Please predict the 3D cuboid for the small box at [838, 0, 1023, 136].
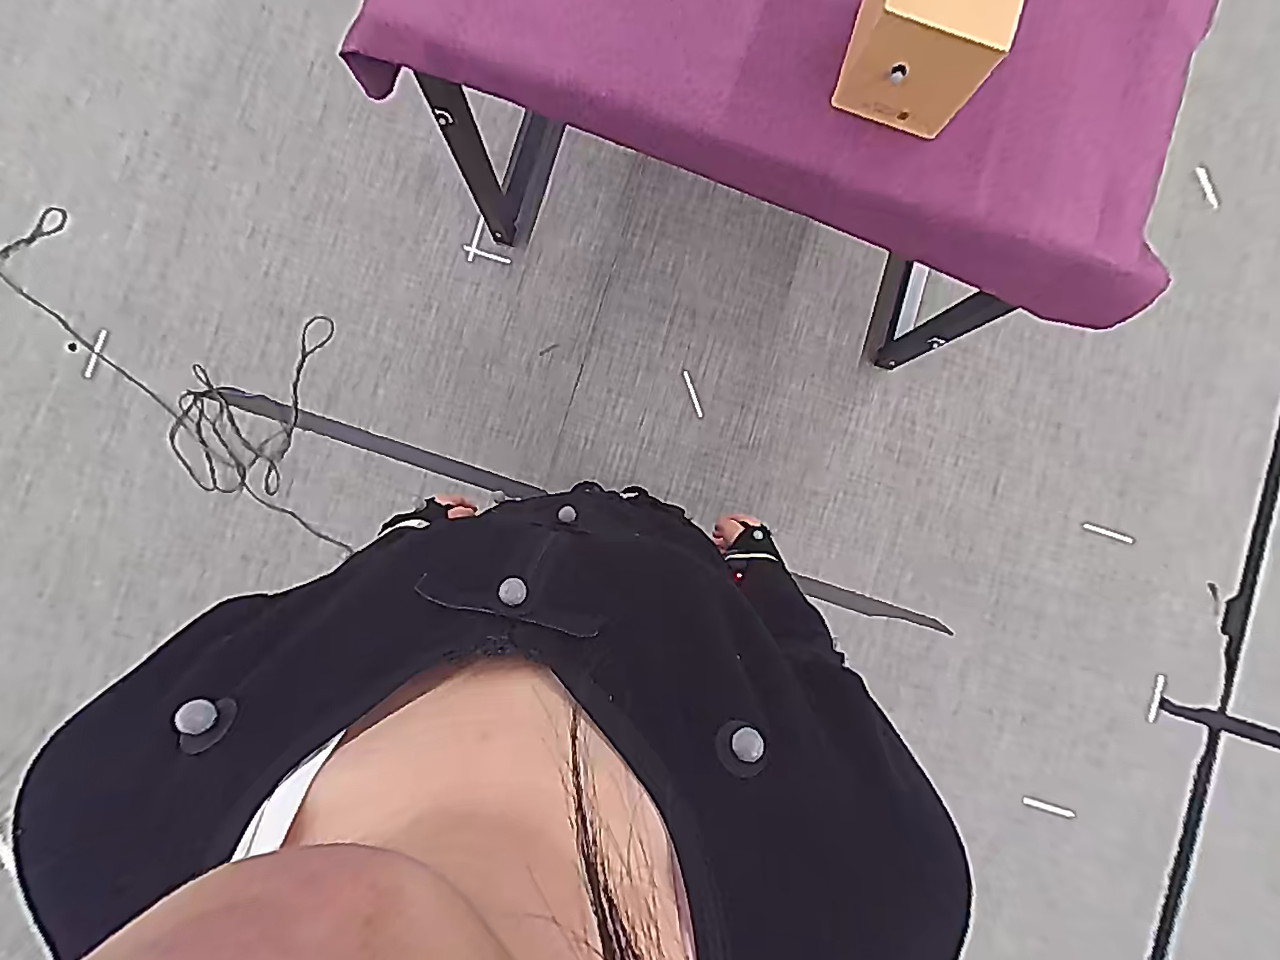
[{"bbox_3d":[0.396,-0.623,0.745,0.168,0.176,0.179,18,87,-1],"label":"small box"}]
